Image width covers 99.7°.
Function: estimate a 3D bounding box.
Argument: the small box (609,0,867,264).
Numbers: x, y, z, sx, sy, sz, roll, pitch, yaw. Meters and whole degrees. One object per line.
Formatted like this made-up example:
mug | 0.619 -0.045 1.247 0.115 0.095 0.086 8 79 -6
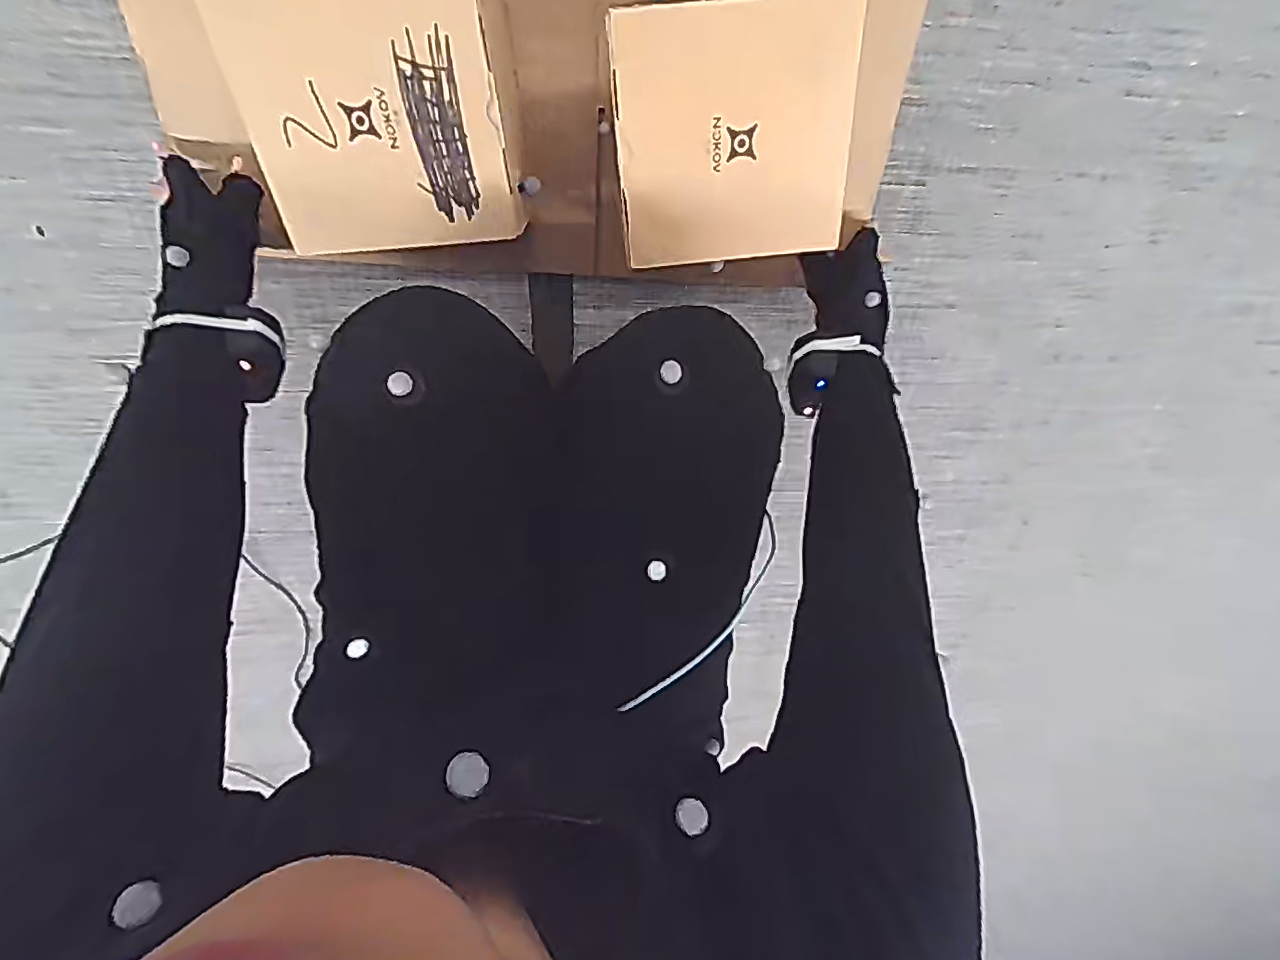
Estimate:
small box | 0.068 -0.300 0.472 0.179 0.176 0.168 -5 124 0
